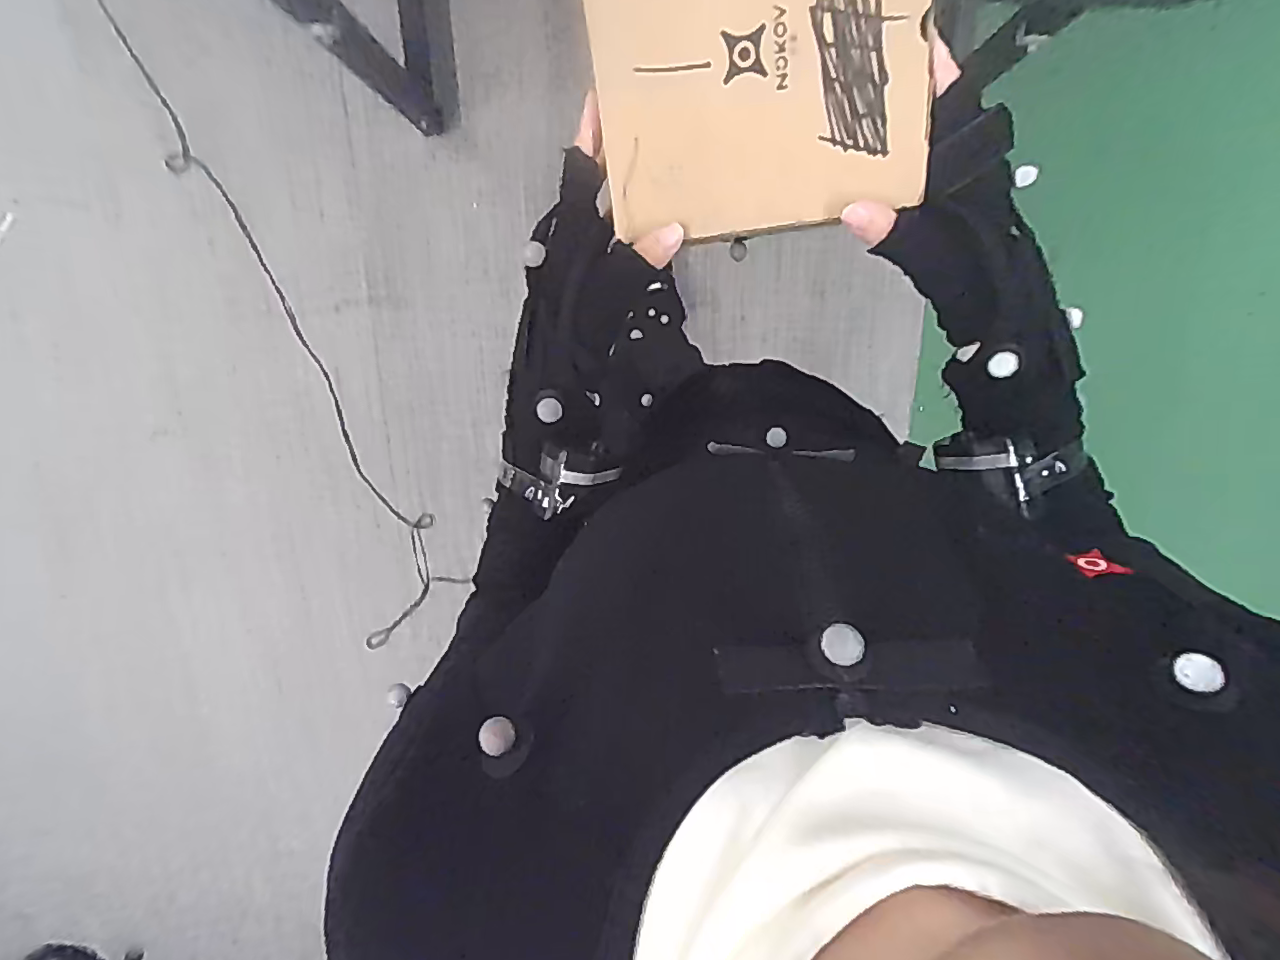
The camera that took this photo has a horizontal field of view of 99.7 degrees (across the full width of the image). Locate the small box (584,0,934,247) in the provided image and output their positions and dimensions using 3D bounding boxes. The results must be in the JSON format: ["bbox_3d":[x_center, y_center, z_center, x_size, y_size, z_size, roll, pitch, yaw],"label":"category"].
[{"bbox_3d":[0.063,-0.255,0.351,0.179,0.176,0.168,-9,112,5],"label":"small box"}]
